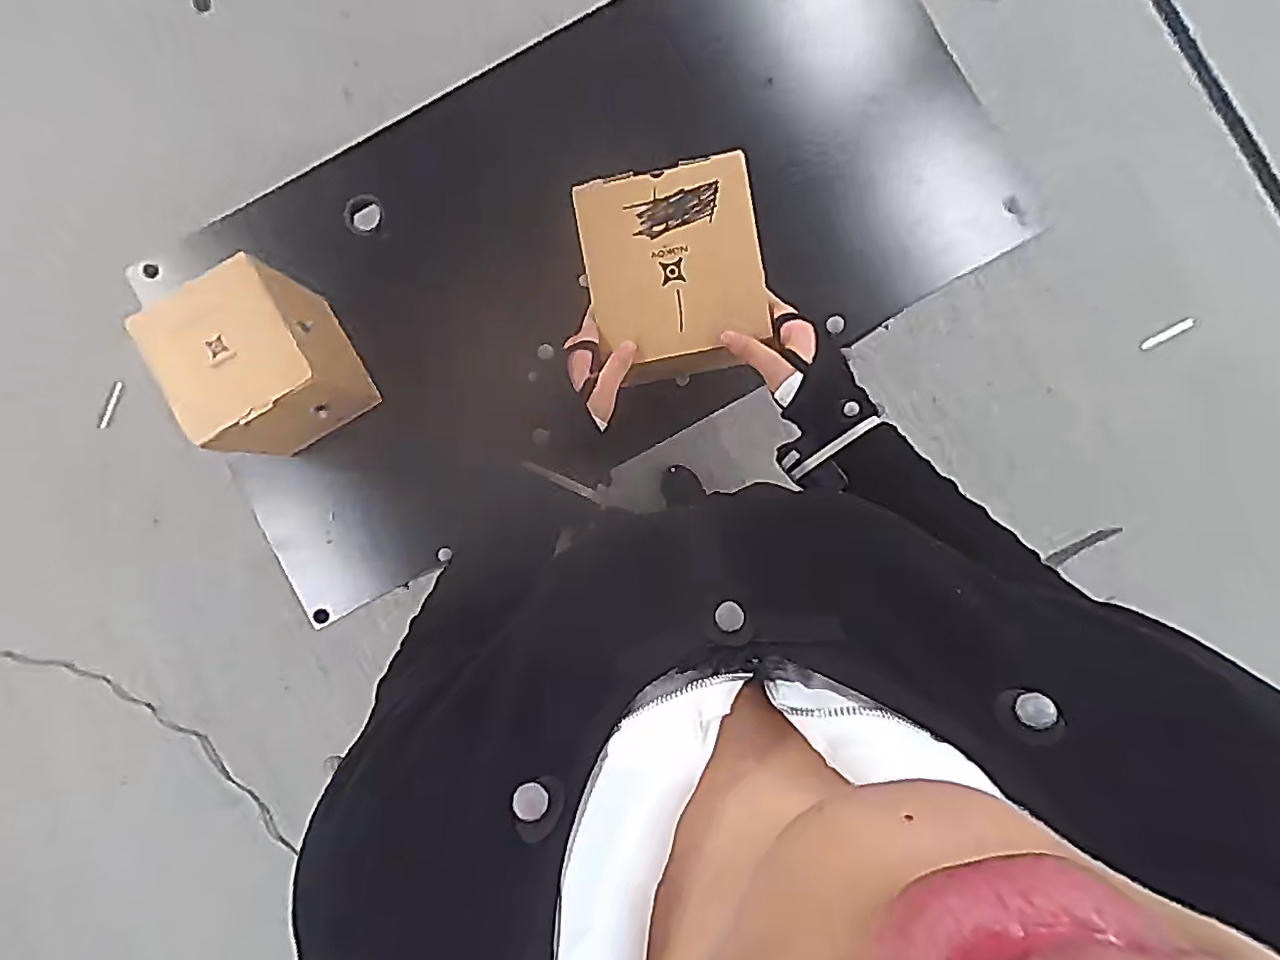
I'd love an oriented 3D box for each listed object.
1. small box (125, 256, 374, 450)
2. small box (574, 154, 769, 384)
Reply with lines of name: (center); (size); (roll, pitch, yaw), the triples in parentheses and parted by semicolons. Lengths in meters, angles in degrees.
small box: (-0.493, -0.150, 0.714); (0.168, 0.176, 0.179); (-31, 88, -1)
small box: (0.034, -0.212, 0.592); (0.168, 0.176, 0.179); (-10, 94, 5)
